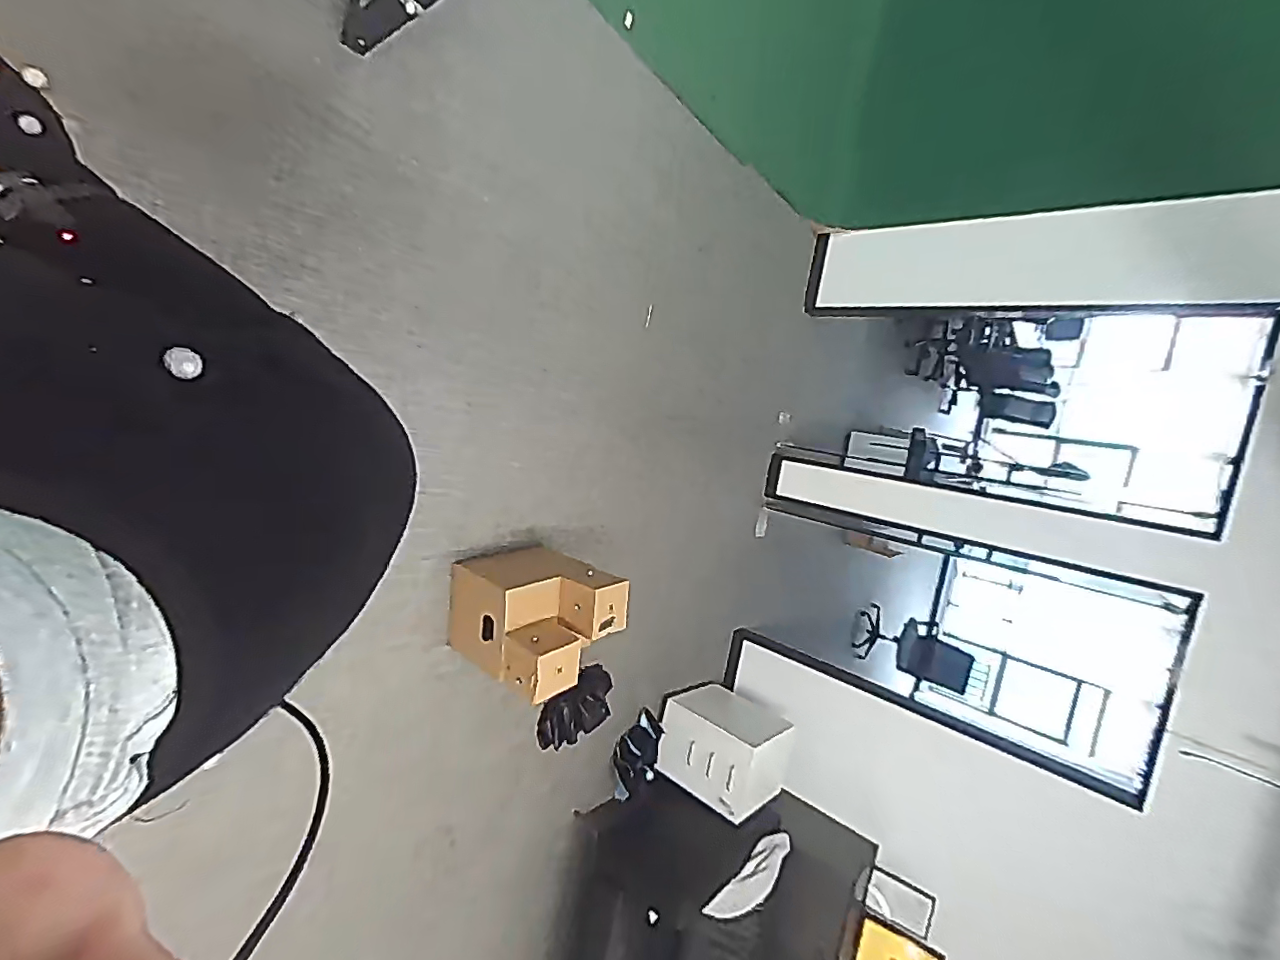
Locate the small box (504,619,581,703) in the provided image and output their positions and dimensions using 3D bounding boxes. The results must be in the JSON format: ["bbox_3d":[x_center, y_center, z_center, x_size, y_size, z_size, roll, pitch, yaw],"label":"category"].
[{"bbox_3d":[-0.312,0.566,1.715,0.179,0.176,0.168,-10,112,-50],"label":"small box"}]

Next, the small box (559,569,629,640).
[{"bbox_3d":[-0.161,0.420,1.851,0.168,0.176,0.179,-3,101,-50],"label":"small box"}]
